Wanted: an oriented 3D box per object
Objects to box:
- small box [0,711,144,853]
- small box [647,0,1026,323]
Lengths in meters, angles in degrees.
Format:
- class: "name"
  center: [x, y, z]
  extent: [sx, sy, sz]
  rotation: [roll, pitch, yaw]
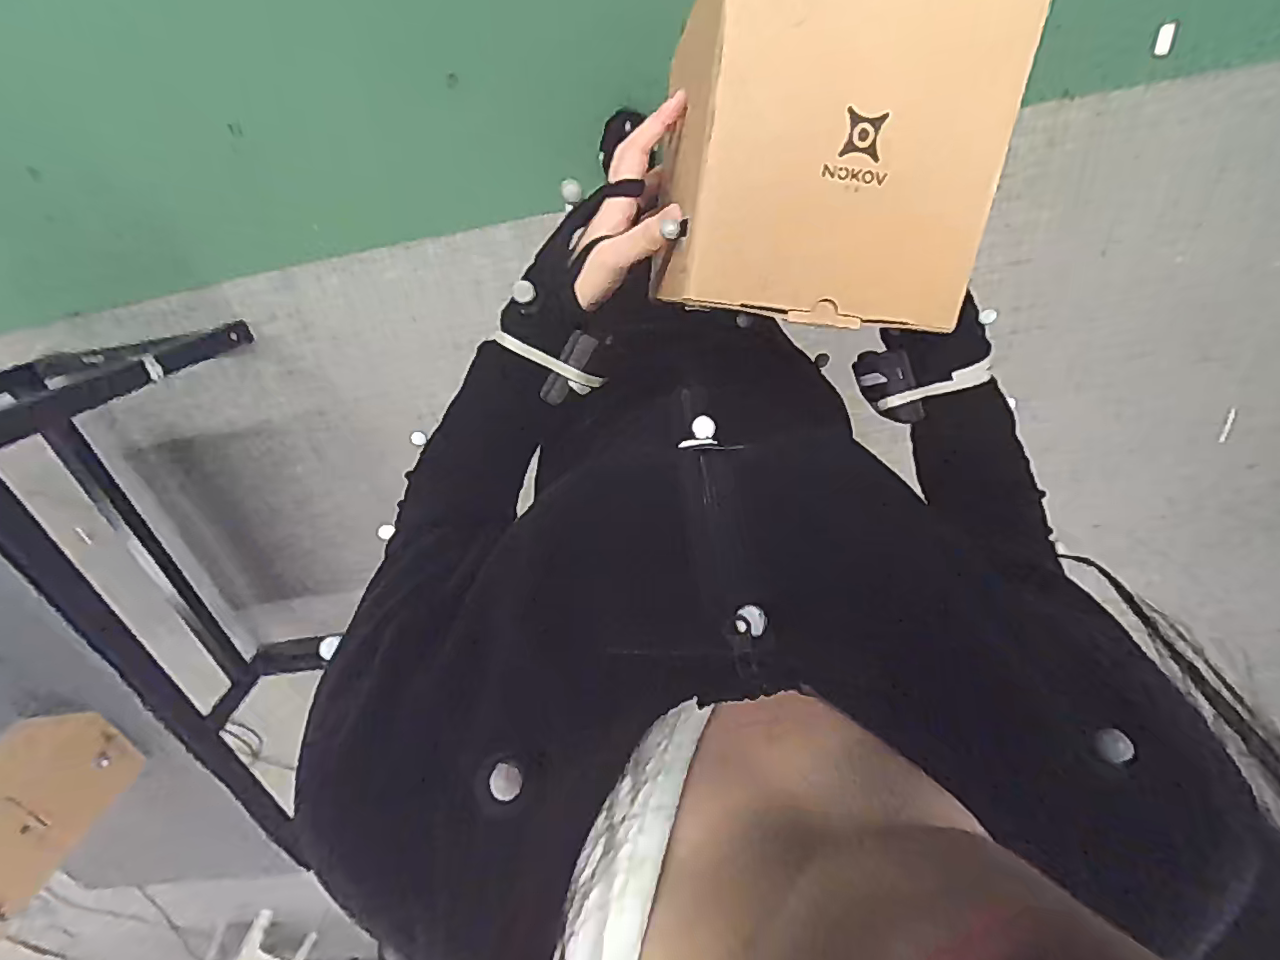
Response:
- class: "small box"
  center: [-1.105, 0.556, 1.005]
  extent: [0.179, 0.176, 0.168]
  rotation: [-9, 120, 6]
- class: "small box"
  center: [0.100, -0.206, 0.362]
  extent: [0.168, 0.176, 0.179]
  rotation: [2, 110, -7]
